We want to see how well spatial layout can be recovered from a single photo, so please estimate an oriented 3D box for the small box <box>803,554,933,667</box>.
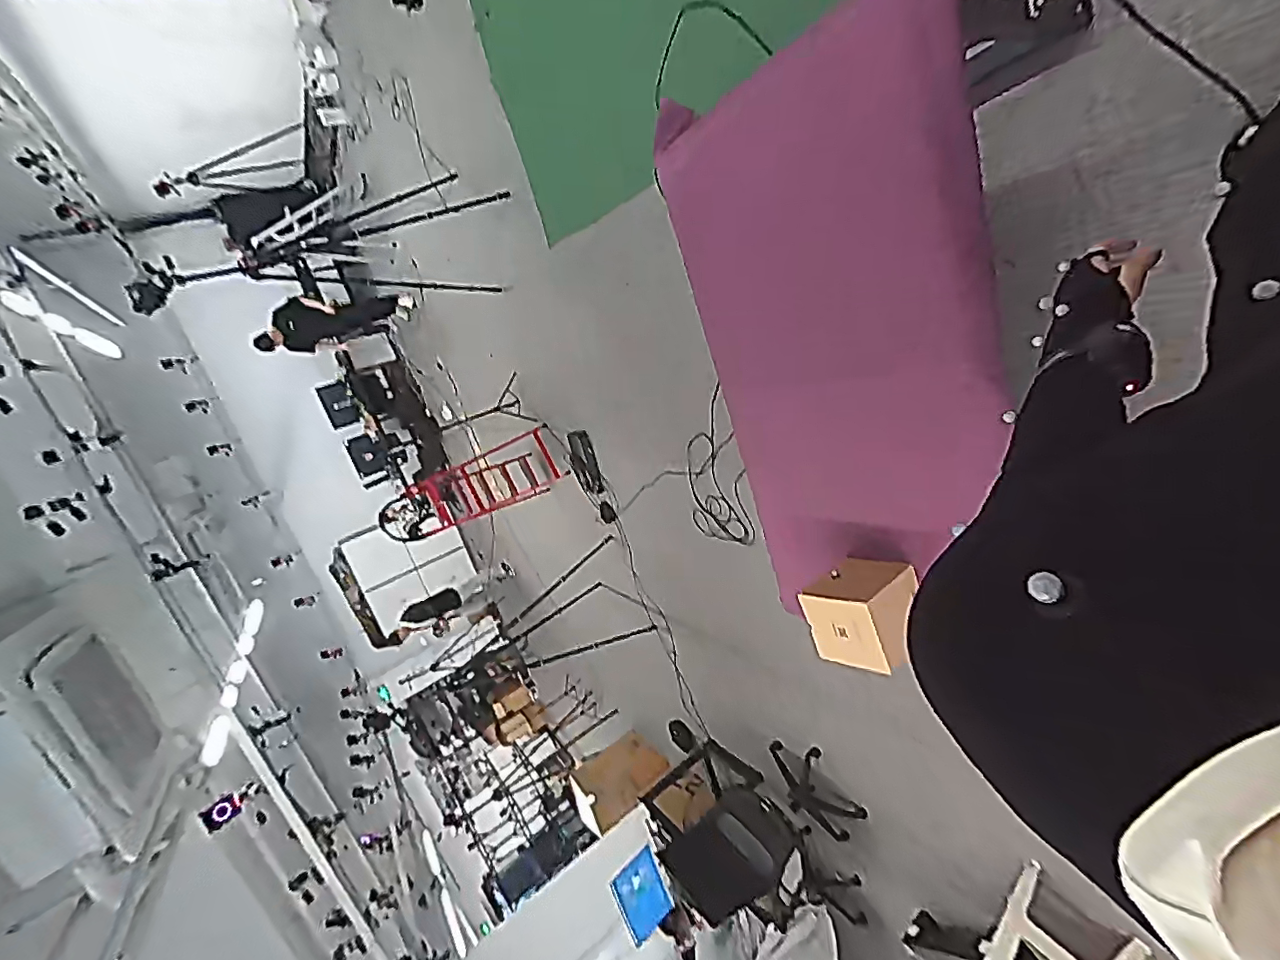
[{"bbox_3d":[0.497,0.273,1.182,0.179,0.176,0.168,-5,110,61],"label":"small box"}]
